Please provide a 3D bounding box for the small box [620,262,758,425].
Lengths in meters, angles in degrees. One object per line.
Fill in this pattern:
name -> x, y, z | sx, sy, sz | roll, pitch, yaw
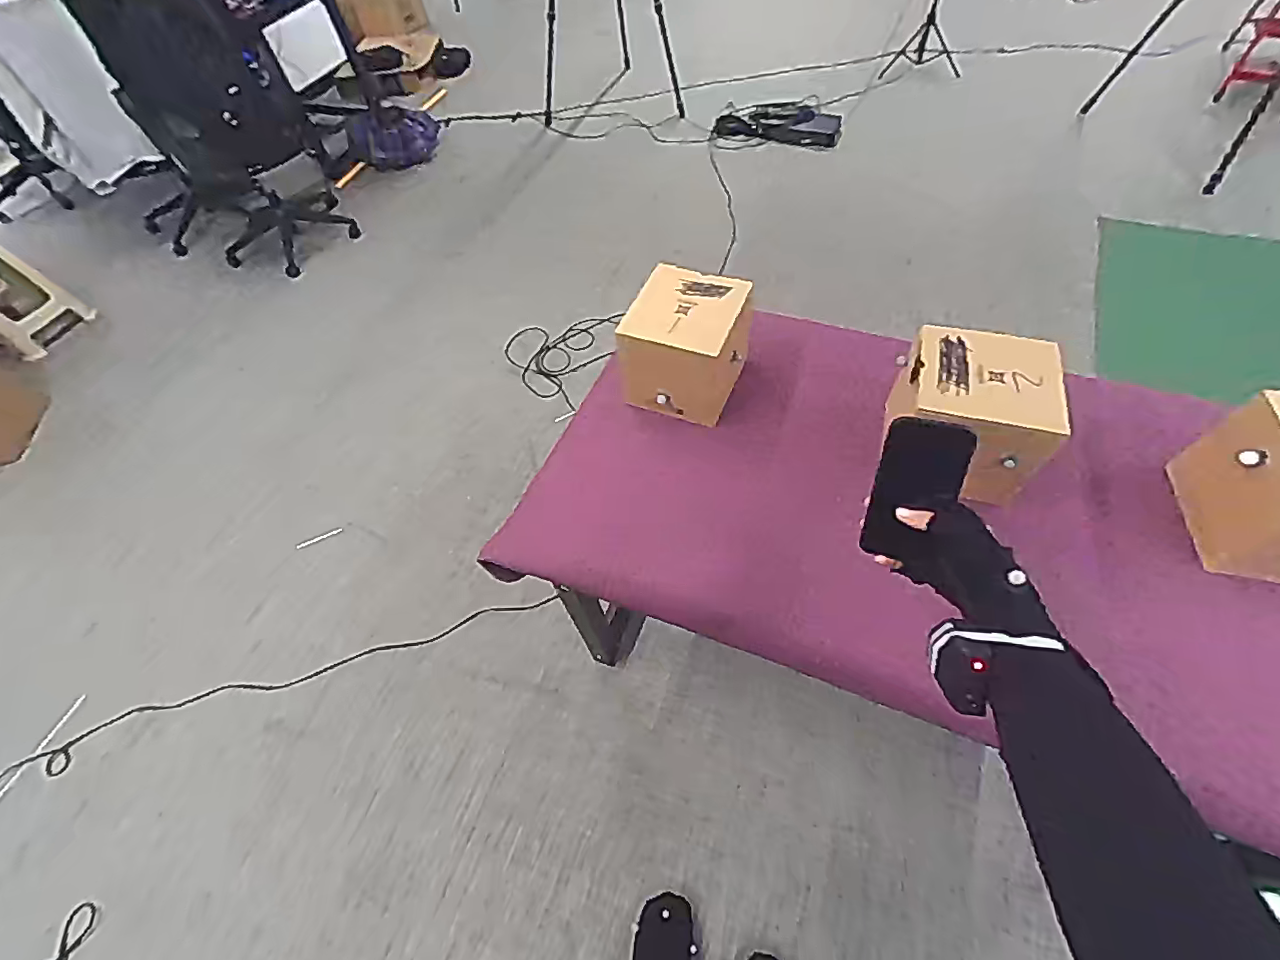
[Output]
small box -> 0.082, -0.223, 0.894 | 0.168, 0.176, 0.179 | 19, 62, 17

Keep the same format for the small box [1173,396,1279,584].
small box -> 0.821, 0.024, 0.660 | 0.168, 0.176, 0.179 | 8, 57, 12
